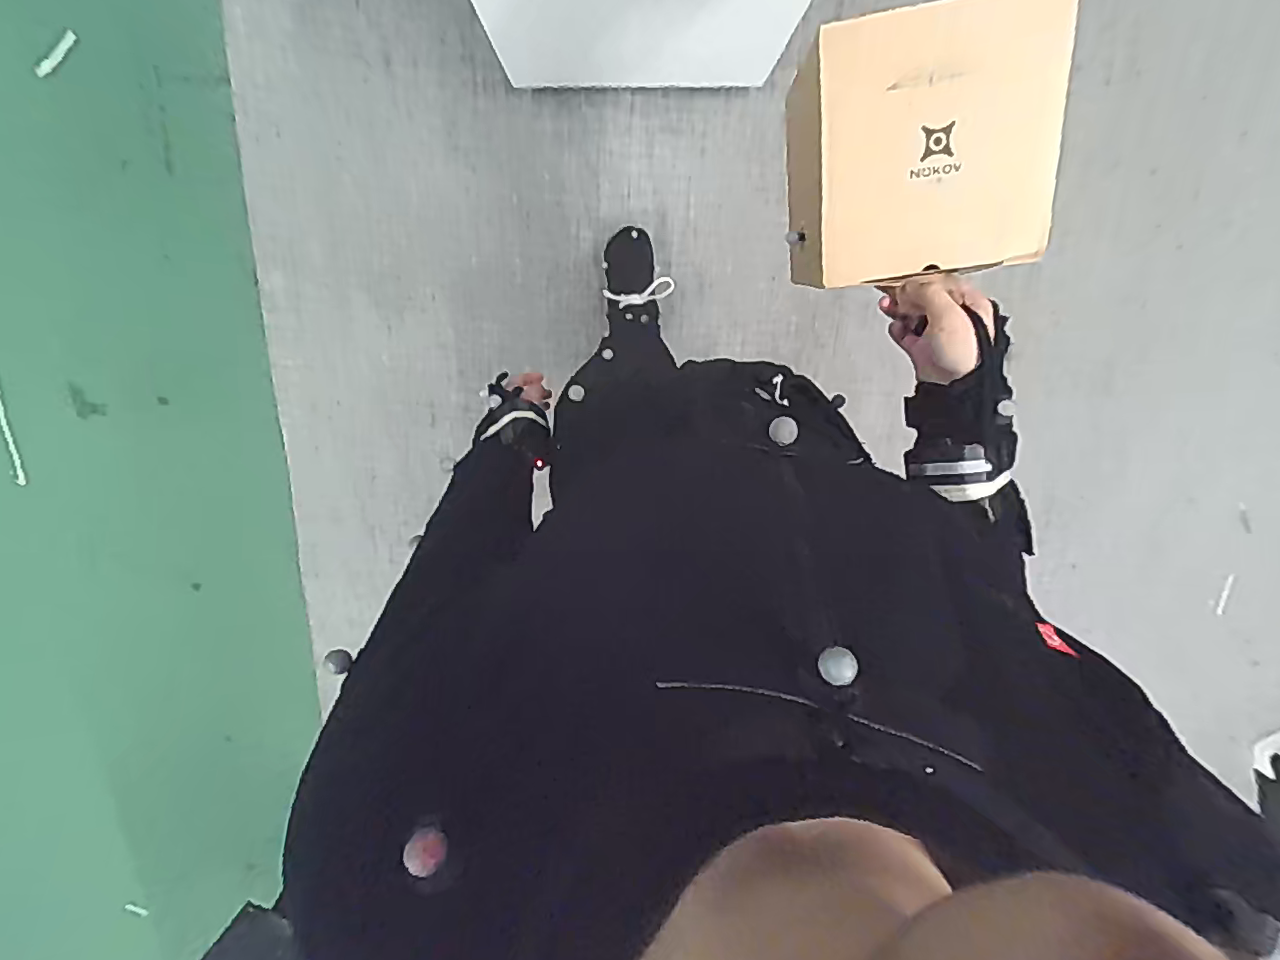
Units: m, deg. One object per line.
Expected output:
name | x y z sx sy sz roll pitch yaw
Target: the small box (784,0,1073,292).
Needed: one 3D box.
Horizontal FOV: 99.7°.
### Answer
small box | 0.222 -0.266 0.466 0.168 0.176 0.179 -6 109 8
